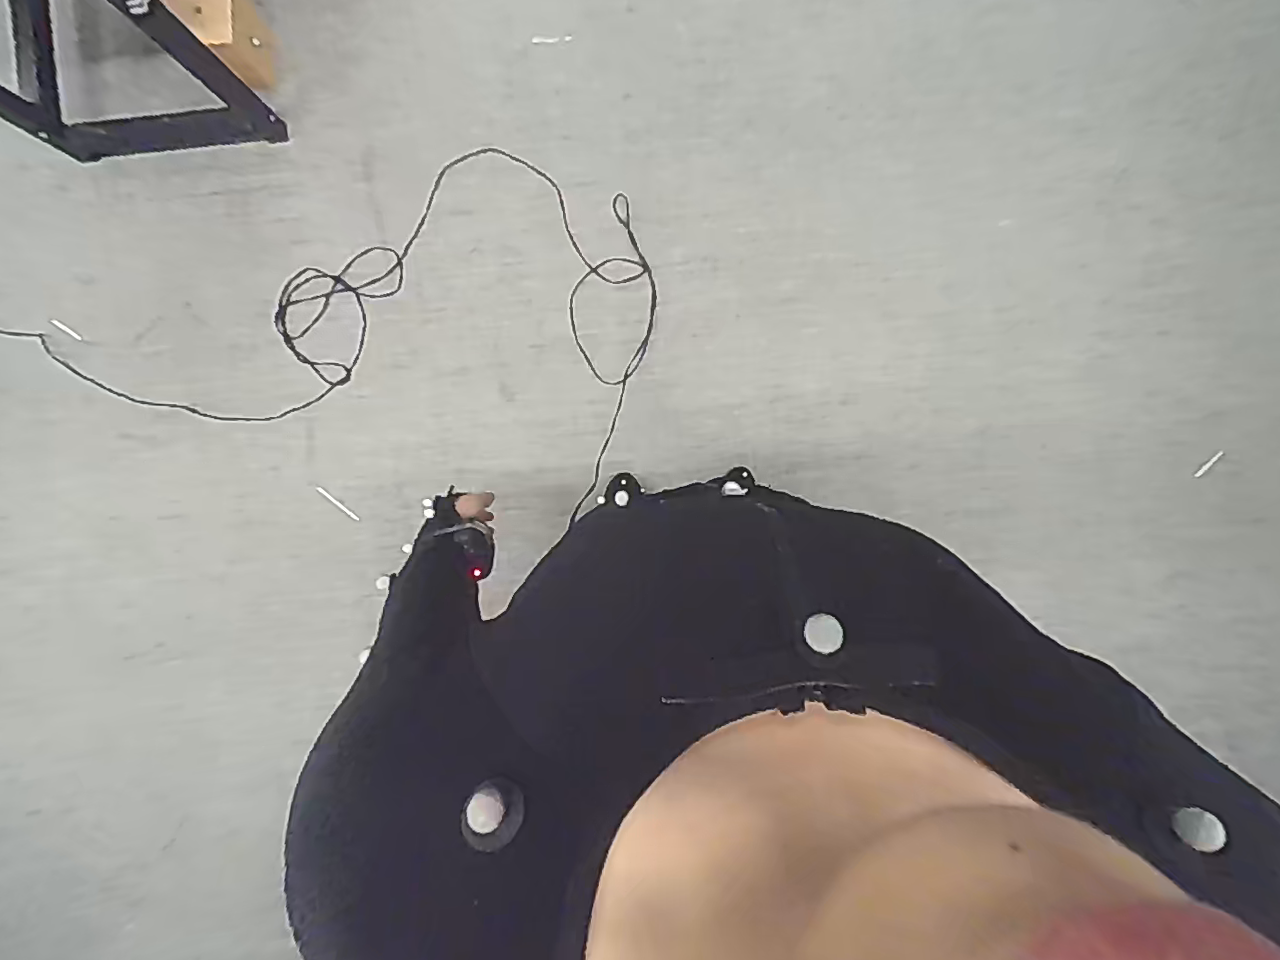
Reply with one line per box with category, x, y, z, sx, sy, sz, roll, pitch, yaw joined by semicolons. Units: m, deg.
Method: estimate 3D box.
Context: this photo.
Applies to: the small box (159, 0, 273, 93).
small box;-1.075;-1.132;1.387;0.179;0.176;0.168;-1;91;0
